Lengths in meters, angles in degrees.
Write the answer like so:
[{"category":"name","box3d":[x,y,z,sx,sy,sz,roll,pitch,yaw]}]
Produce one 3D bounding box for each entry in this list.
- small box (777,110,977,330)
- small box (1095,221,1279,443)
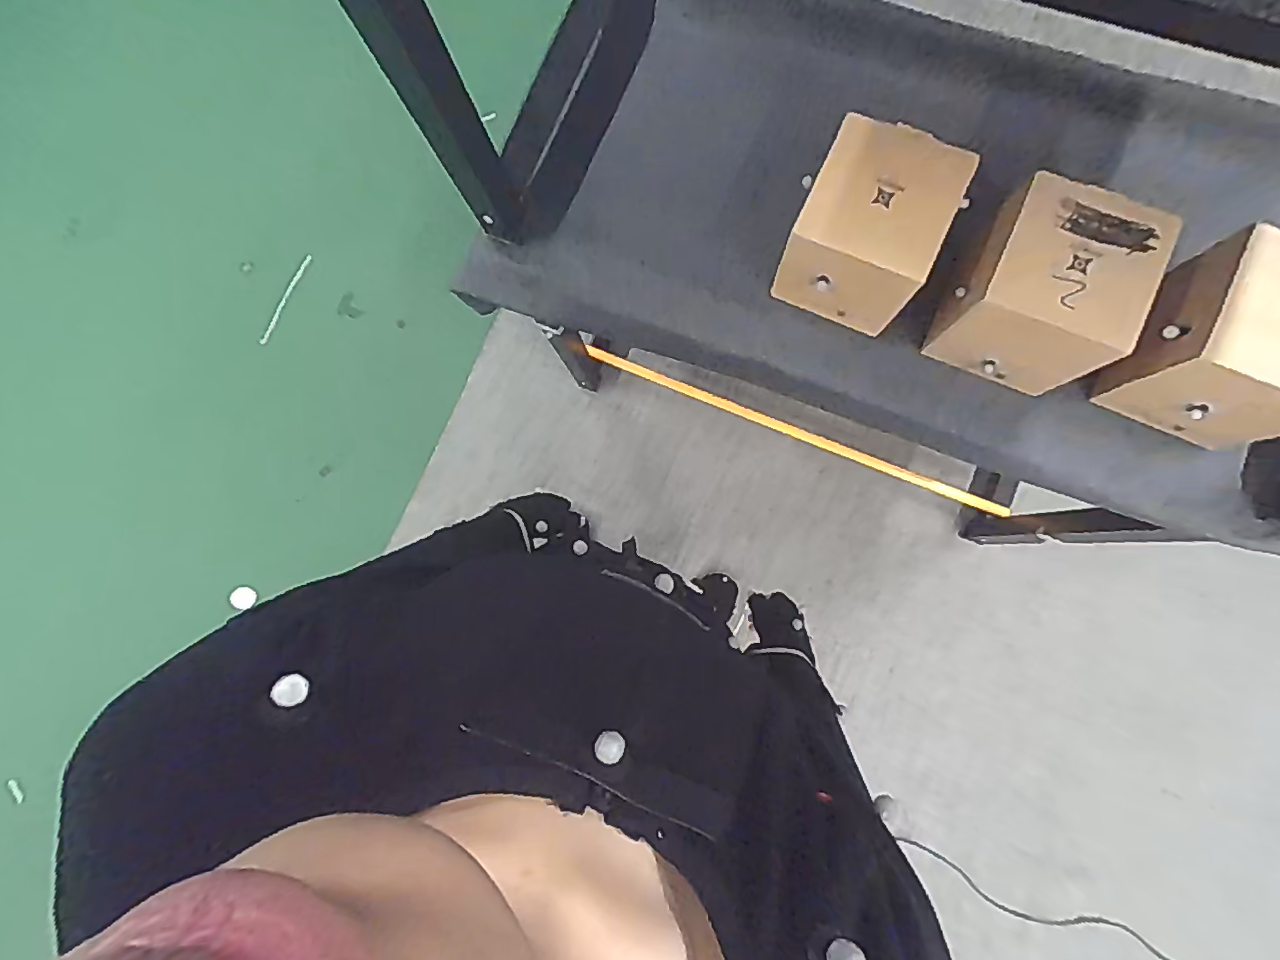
[{"category":"small box","box3d":[0.294,-0.327,0.715,0.168,0.176,0.179,25,85,8]},{"category":"small box","box3d":[0.712,-0.164,0.656,0.168,0.176,0.179,26,85,7]}]
